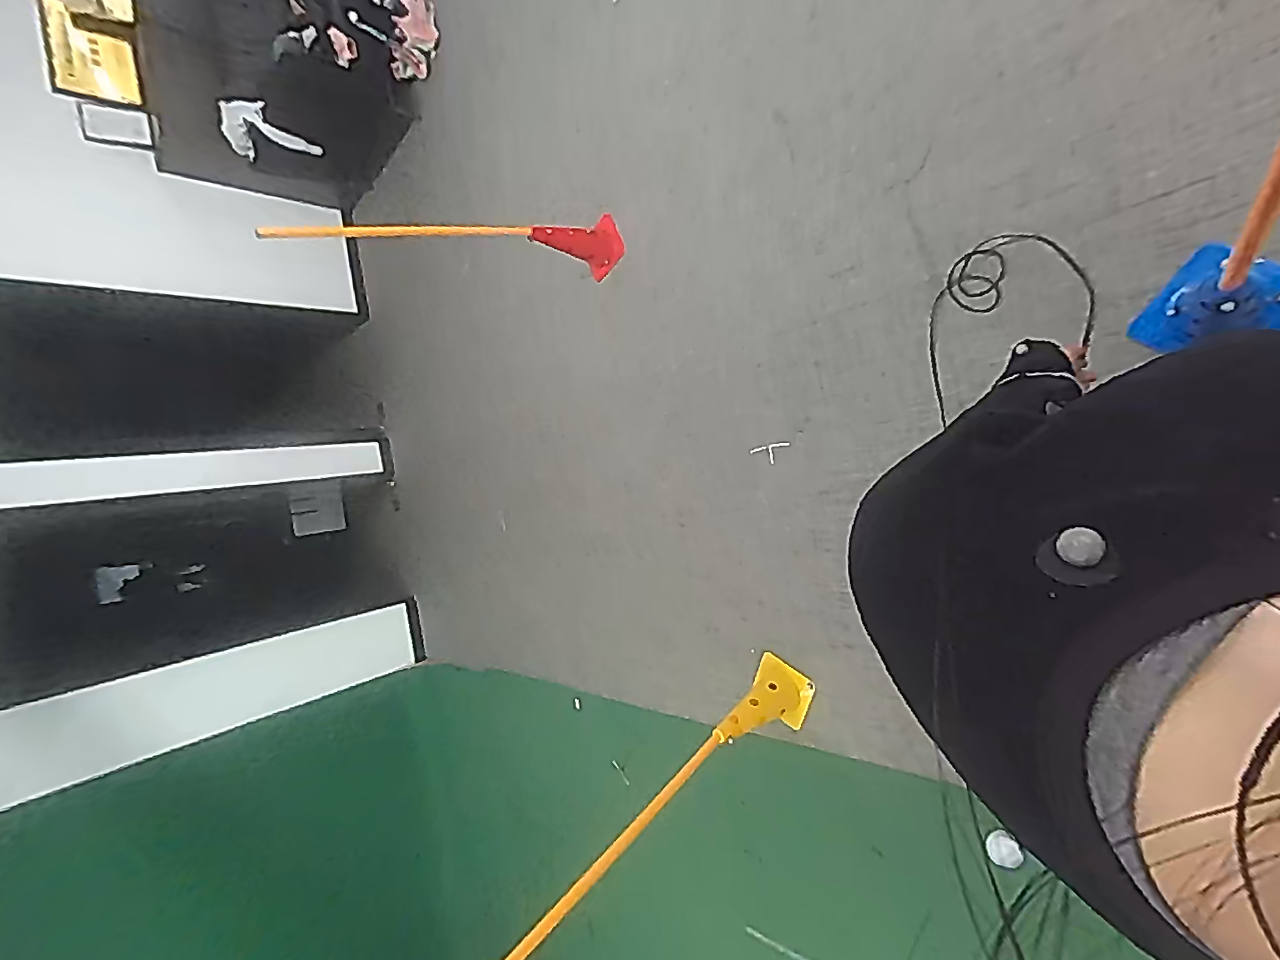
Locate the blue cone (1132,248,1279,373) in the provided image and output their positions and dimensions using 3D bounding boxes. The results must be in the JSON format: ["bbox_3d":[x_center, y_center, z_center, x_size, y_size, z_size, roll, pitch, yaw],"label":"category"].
[{"bbox_3d":[0.971,-0.308,0.906,0.192,0.380,0.193,45,123,31],"label":"blue cone"}]
